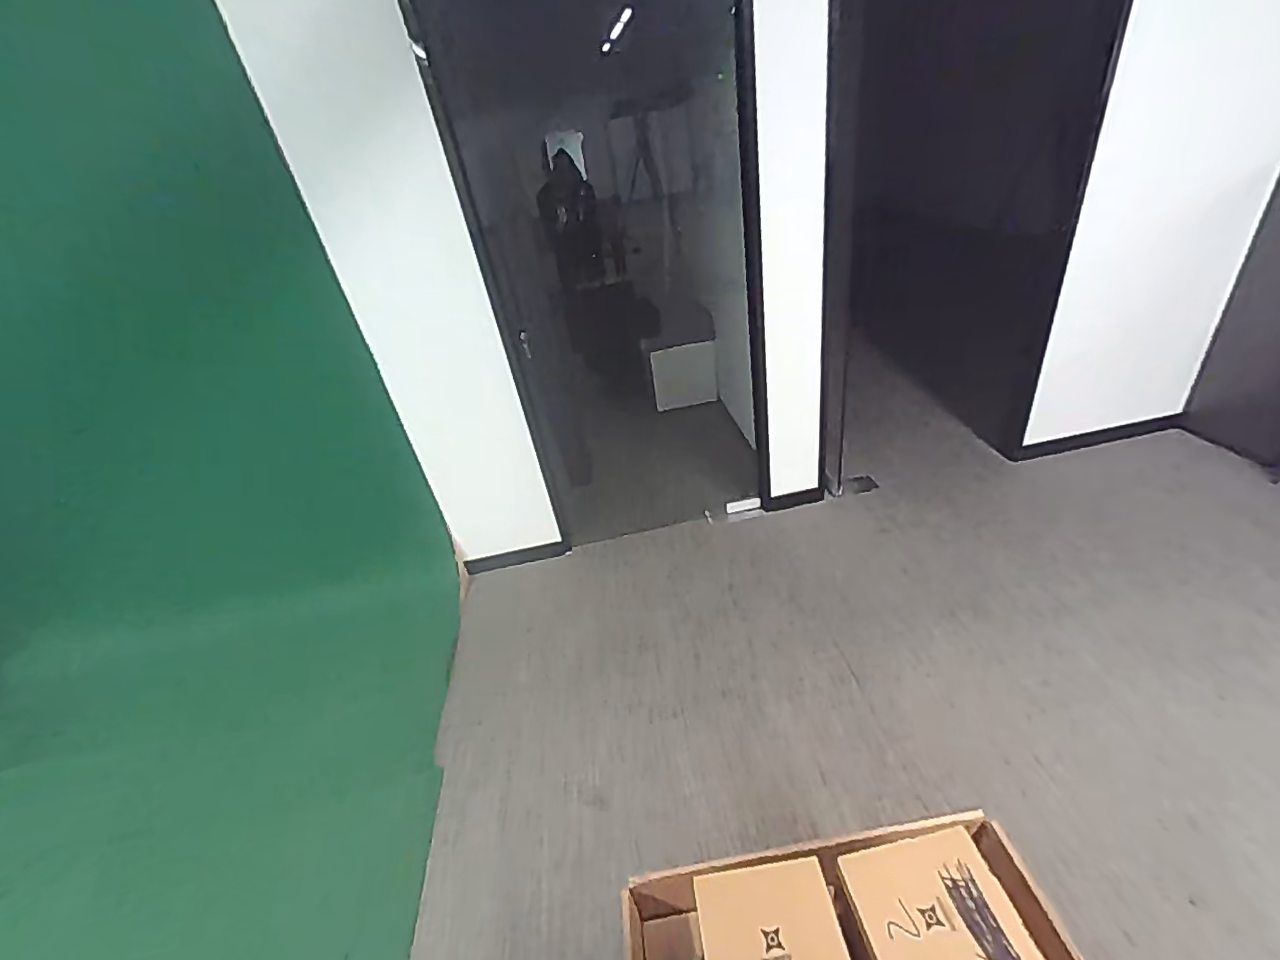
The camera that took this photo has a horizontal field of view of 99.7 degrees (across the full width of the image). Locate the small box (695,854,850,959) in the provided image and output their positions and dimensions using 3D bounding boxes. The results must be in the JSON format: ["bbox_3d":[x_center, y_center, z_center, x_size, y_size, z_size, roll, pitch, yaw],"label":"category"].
[{"bbox_3d":[0.165,0.606,0.667,0.168,0.176,0.179,-10,32,1],"label":"small box"}]
